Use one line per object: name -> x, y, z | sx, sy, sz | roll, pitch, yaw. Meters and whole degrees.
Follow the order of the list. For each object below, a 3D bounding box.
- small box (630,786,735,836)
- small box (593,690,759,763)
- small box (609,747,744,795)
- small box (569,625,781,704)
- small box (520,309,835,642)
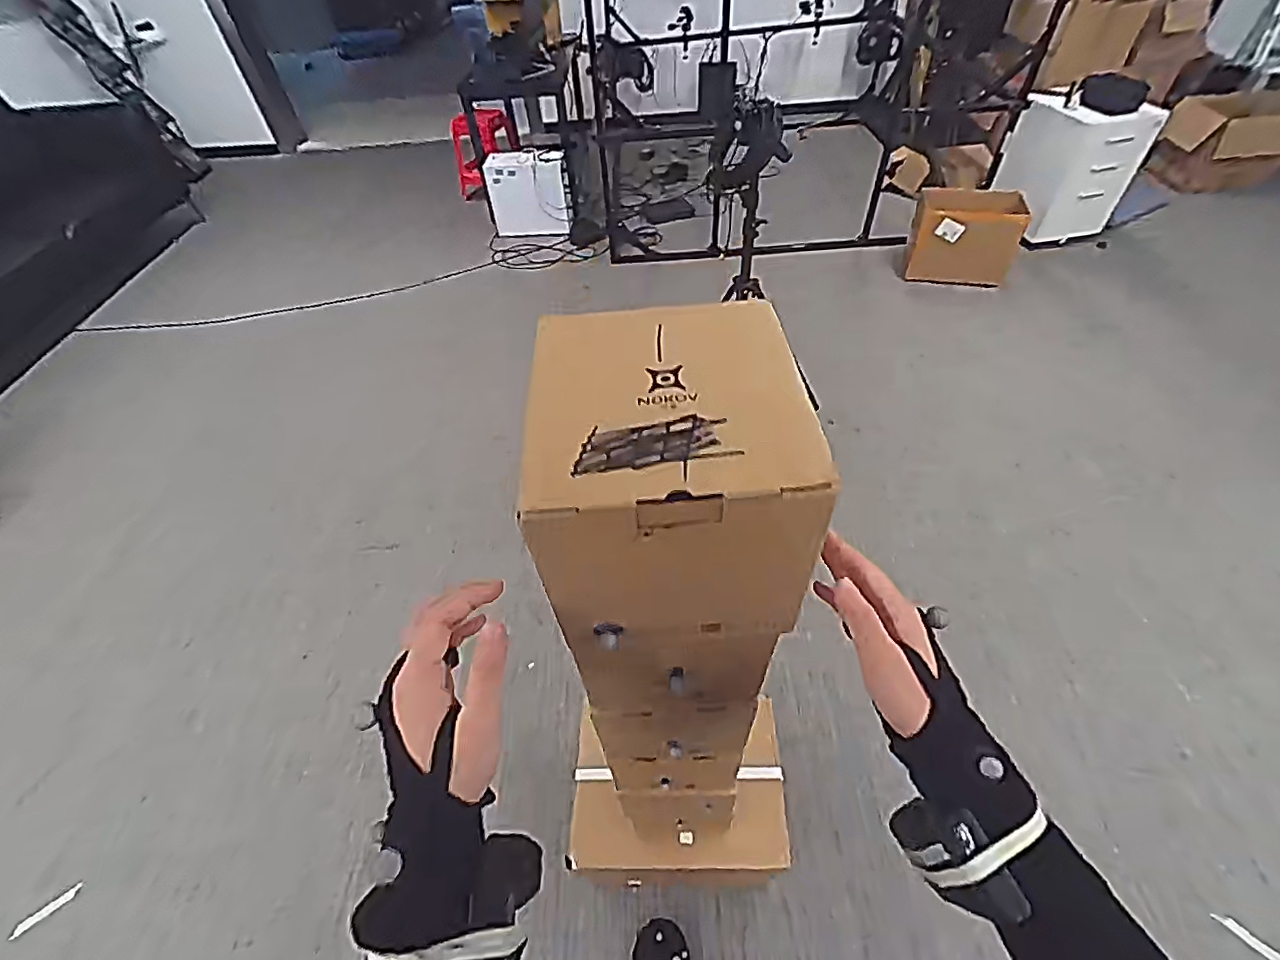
small box -> 0.074, 0.548, 0.998 | 0.179, 0.176, 0.168 | -3, 50, 1
small box -> 0.036, 0.215, 0.639 | 0.168, 0.176, 0.179 | -4, 50, 1
small box -> 0.046, 0.325, 0.761 | 0.168, 0.176, 0.179 | -3, 50, 2
small box -> 0.028, 0.104, 0.519 | 0.168, 0.176, 0.179 | -5, 51, 0
small box -> 0.021, 0.004, 0.387 | 0.168, 0.176, 0.179 | -5, 49, 0
